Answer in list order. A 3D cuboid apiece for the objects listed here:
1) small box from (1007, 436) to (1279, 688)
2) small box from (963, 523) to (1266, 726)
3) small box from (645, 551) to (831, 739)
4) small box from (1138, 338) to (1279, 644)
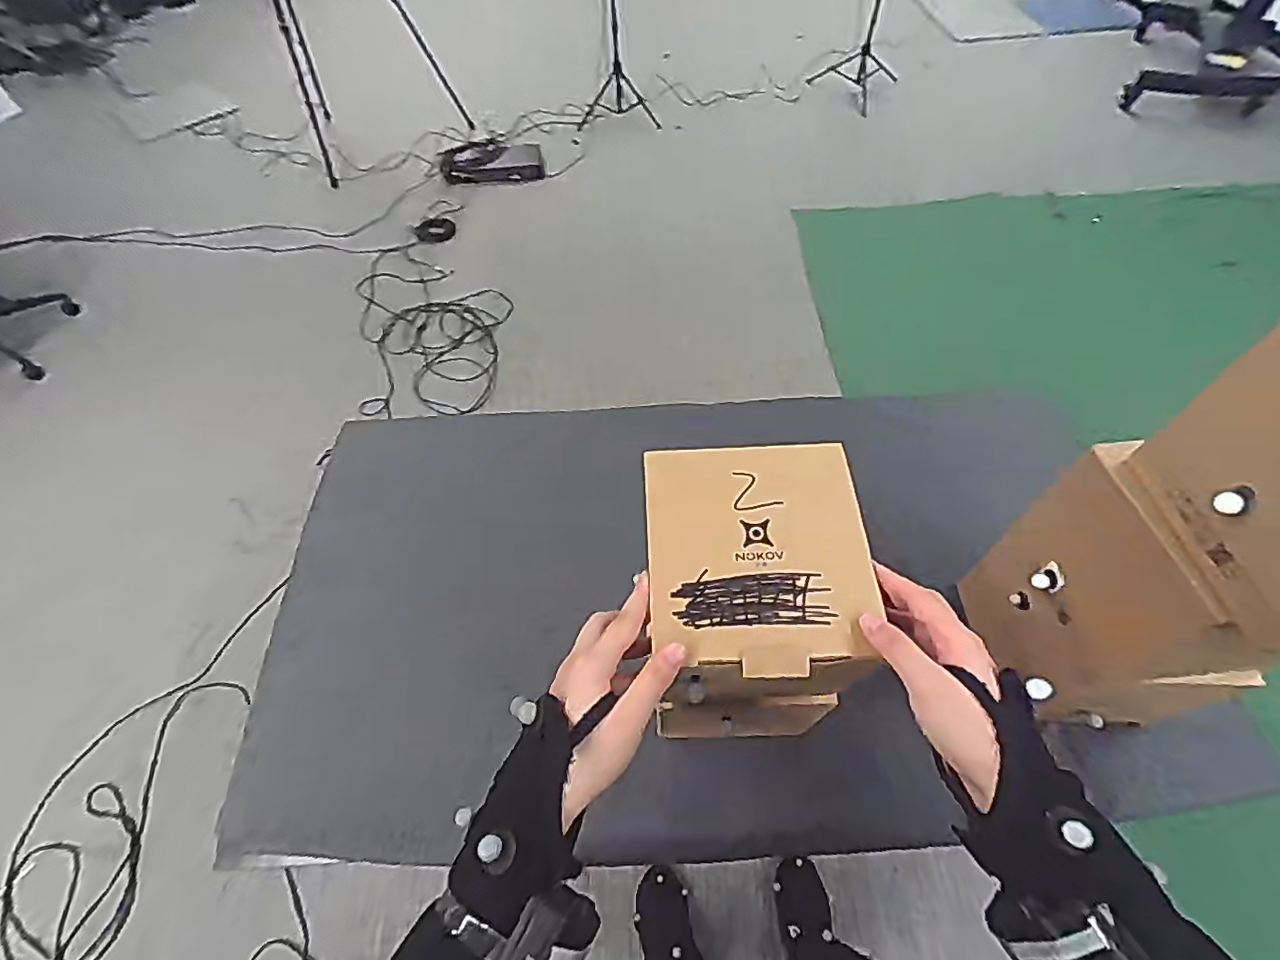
[{"bbox_3d":[0.484,0.074,0.483,0.179,0.176,0.168,-7,53,1],"label":"small box"},{"bbox_3d":[0.503,0.166,0.615,0.168,0.176,0.179,0,55,4],"label":"small box"},{"bbox_3d":[0.100,0.195,0.623,0.179,0.176,0.168,-3,56,2],"label":"small box"},{"bbox_3d":[0.489,-0.005,0.336,0.179,0.176,0.168,-2,53,2],"label":"small box"}]
